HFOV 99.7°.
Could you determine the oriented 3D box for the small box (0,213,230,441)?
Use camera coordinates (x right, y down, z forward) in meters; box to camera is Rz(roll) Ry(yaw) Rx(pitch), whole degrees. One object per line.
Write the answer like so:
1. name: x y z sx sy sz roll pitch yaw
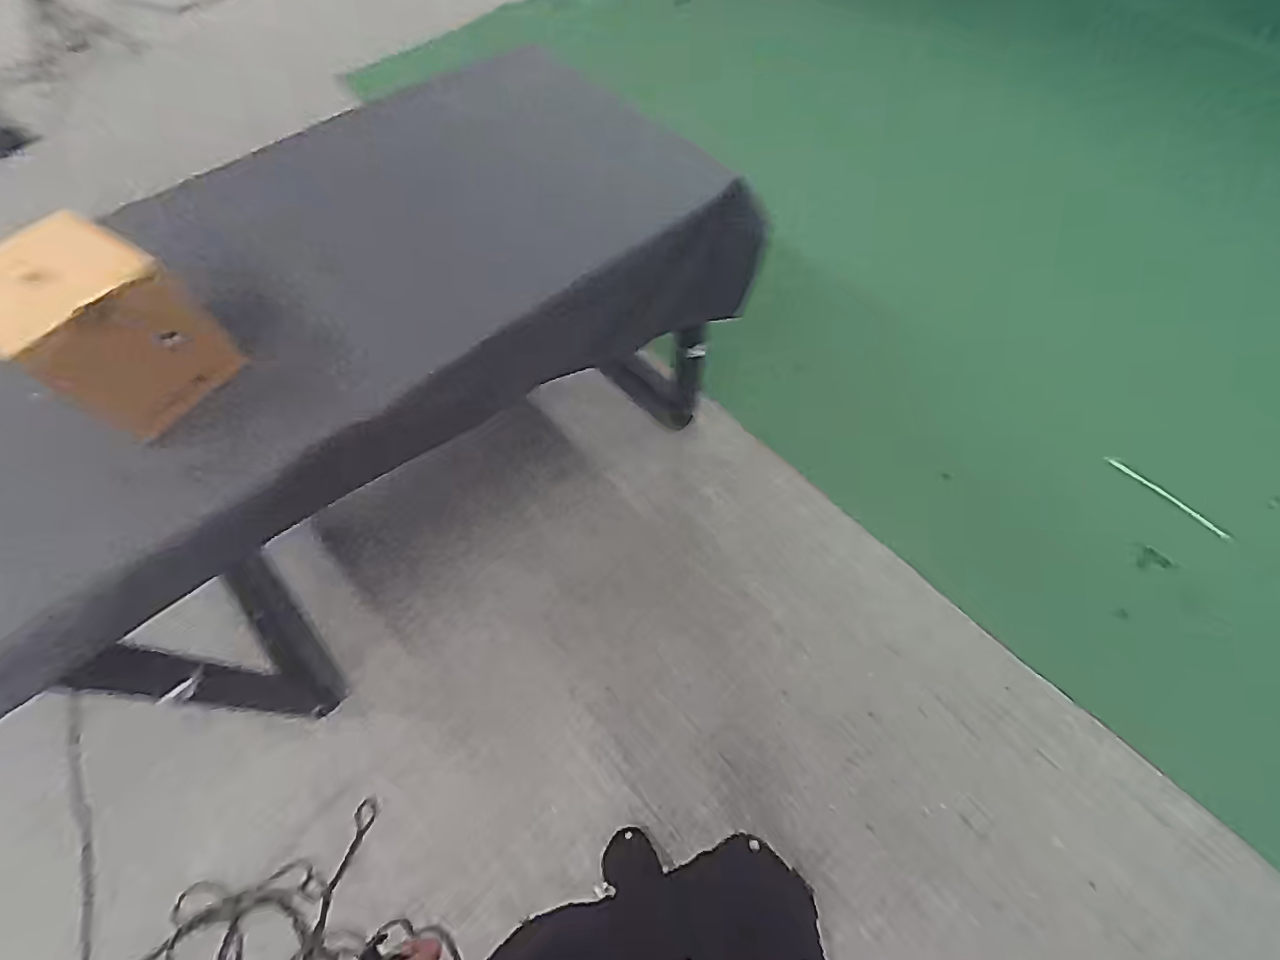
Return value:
1. small box: -0.650 -0.171 0.639 0.179 0.176 0.168 27 64 16
